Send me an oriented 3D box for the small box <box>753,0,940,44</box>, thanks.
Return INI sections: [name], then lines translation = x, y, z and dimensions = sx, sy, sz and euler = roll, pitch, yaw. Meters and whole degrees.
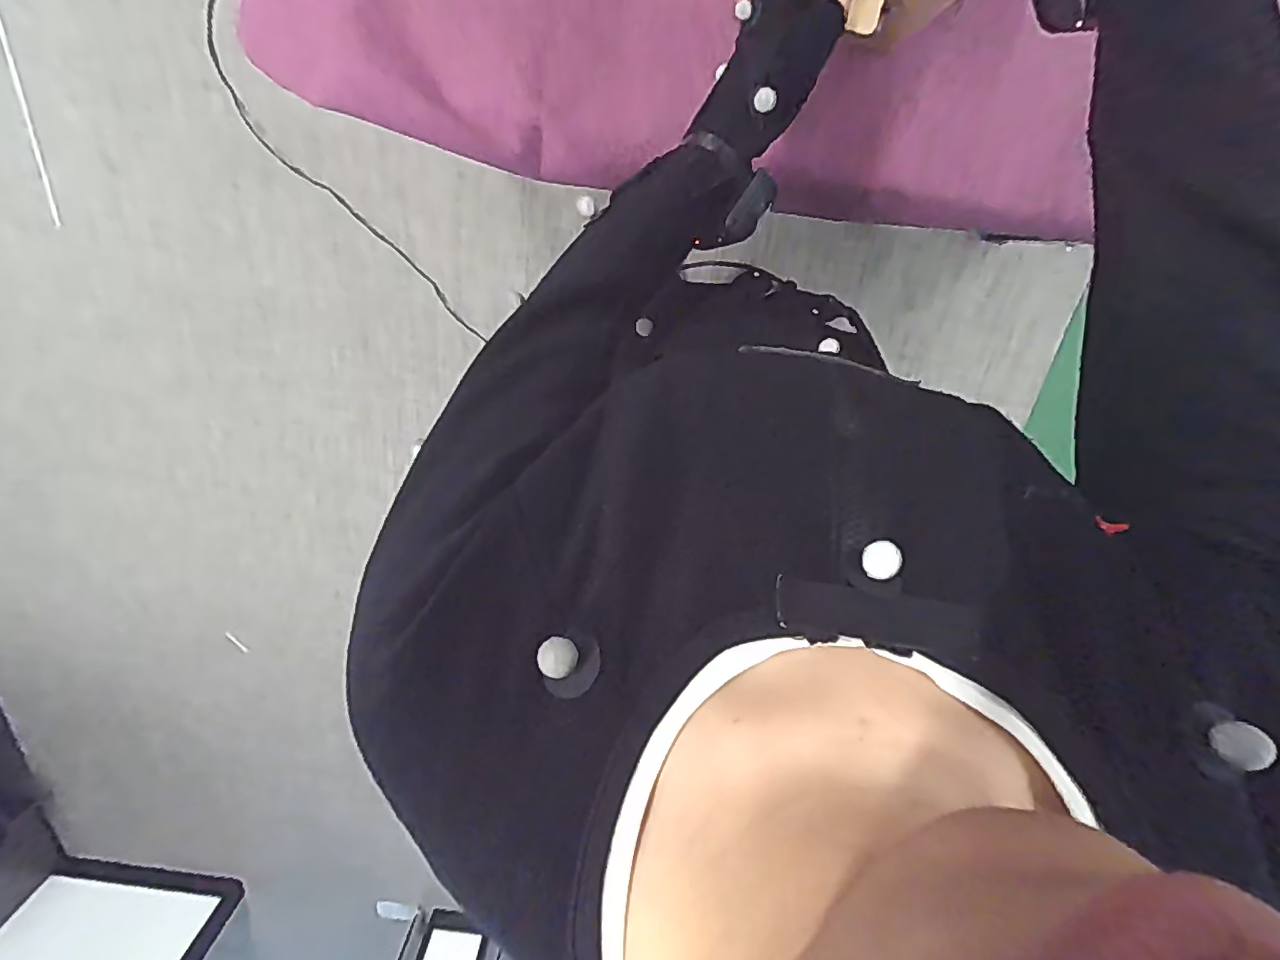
[small box]
translation = 0.189, -0.488, 0.431
dimensions = 0.168, 0.176, 0.179
euler = 11, 114, -2
